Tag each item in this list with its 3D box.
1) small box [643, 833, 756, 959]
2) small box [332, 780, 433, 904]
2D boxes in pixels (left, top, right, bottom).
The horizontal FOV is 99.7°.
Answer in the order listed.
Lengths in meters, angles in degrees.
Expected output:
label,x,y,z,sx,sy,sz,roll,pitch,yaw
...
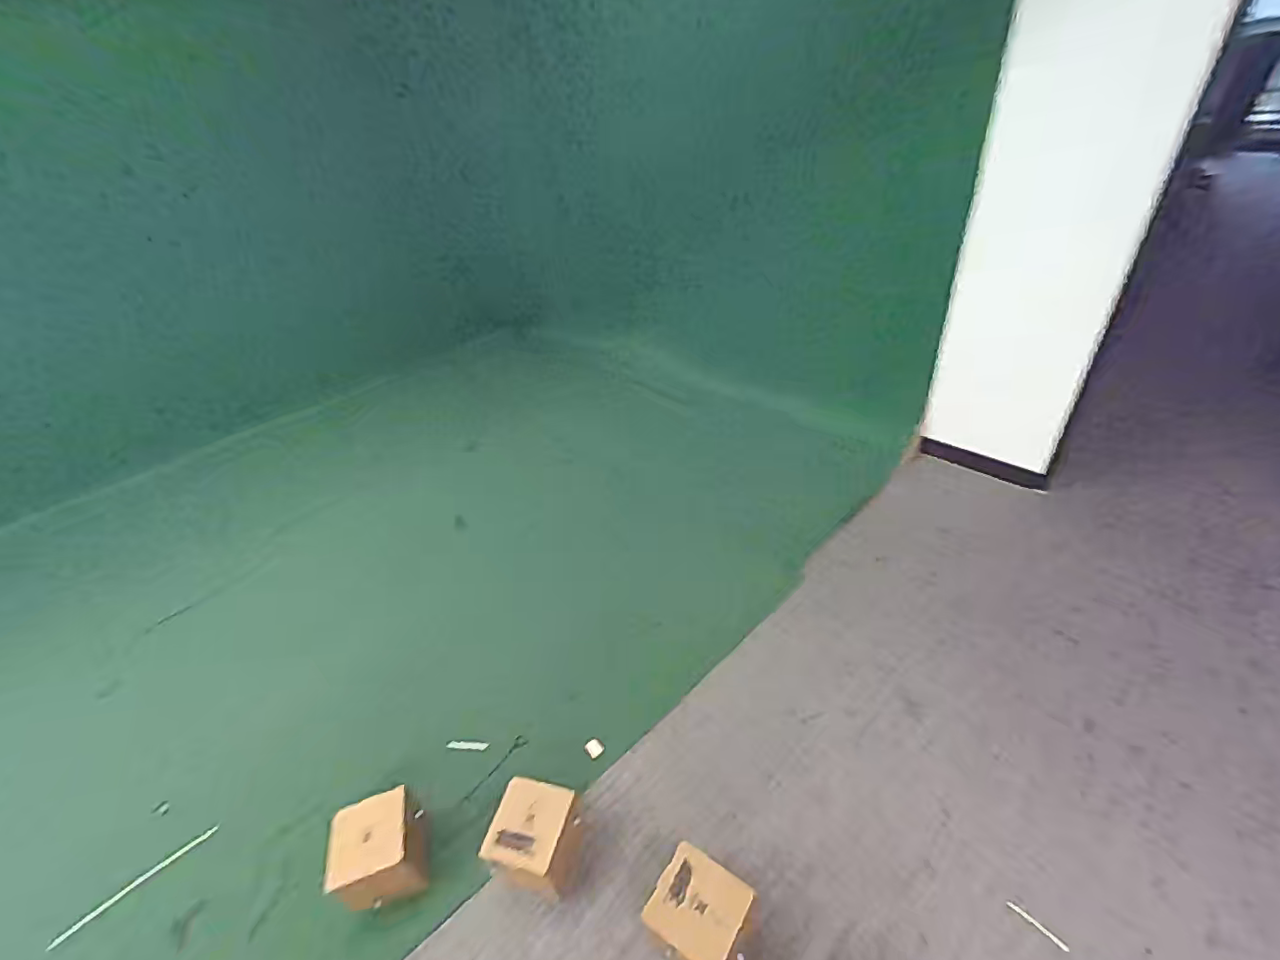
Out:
label,x,y,z,sx,sy,sz,roll,pitch,yaw
small box,0.128,0.899,1.133,0.179,0.176,0.168,20,46,31
small box,-0.616,0.880,1.316,0.168,0.176,0.179,-17,38,-10
